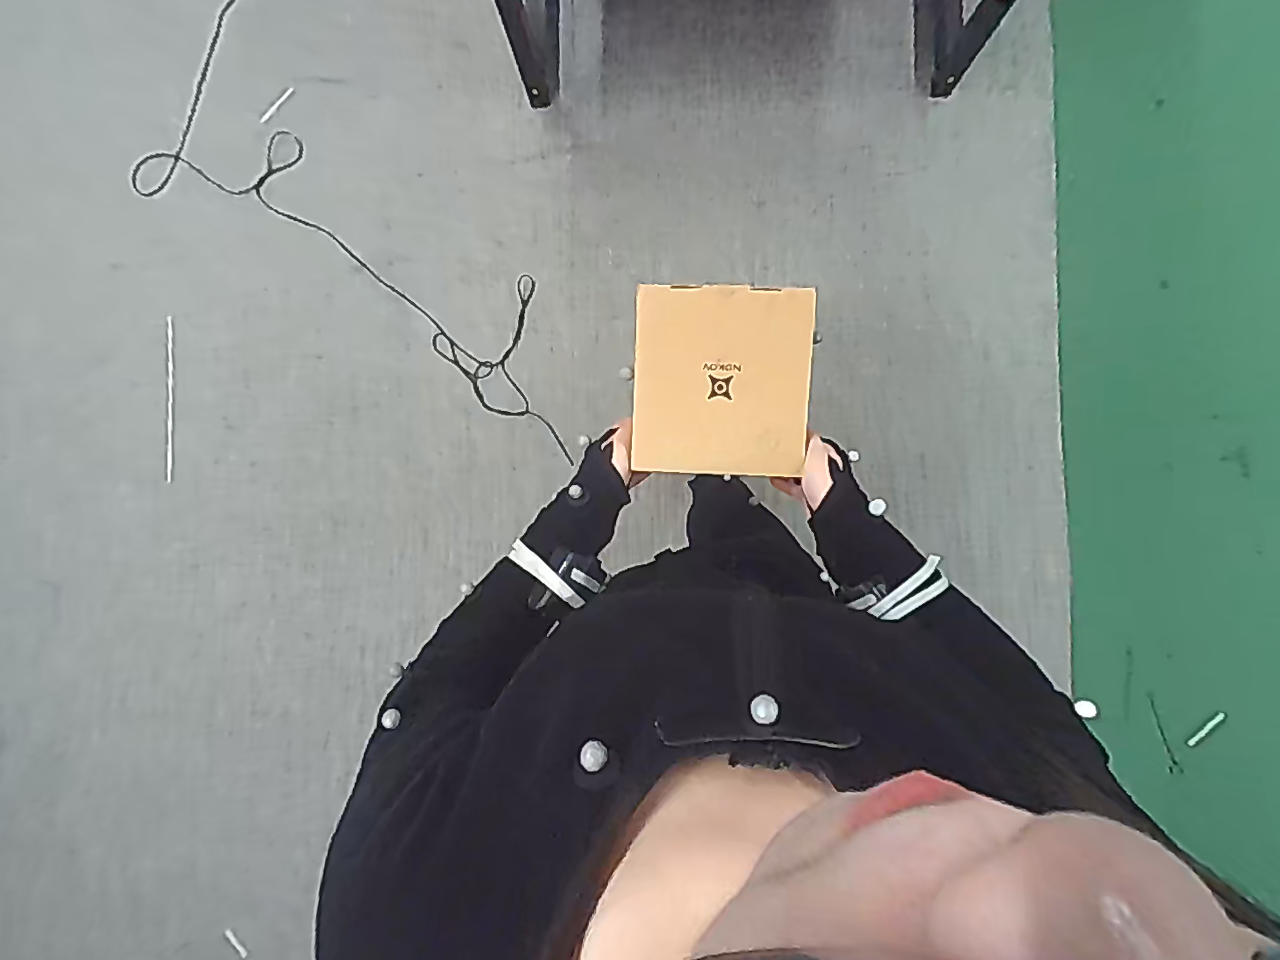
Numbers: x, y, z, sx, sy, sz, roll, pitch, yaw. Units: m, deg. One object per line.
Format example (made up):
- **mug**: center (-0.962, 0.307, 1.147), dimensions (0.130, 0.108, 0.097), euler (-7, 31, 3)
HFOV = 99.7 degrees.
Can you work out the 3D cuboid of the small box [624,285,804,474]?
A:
- **small box**: center (0.074, -0.105, 0.599), dimensions (0.168, 0.176, 0.179), euler (2, 97, 3)
